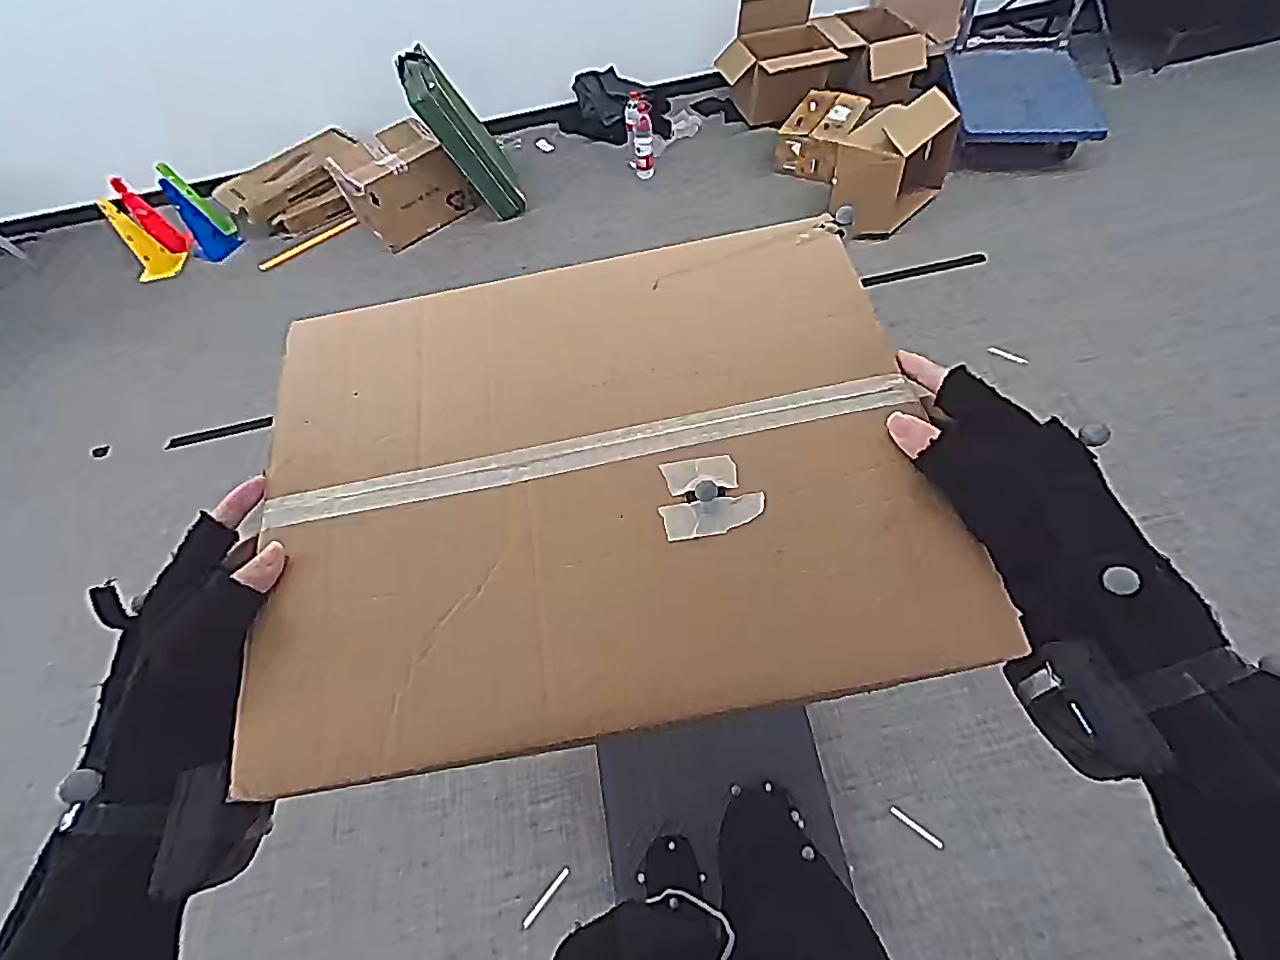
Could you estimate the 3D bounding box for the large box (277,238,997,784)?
[{"bbox_3d":[-0.016,0.049,0.485,0.408,0.320,0.320,-11,66,0],"label":"large box"}]
